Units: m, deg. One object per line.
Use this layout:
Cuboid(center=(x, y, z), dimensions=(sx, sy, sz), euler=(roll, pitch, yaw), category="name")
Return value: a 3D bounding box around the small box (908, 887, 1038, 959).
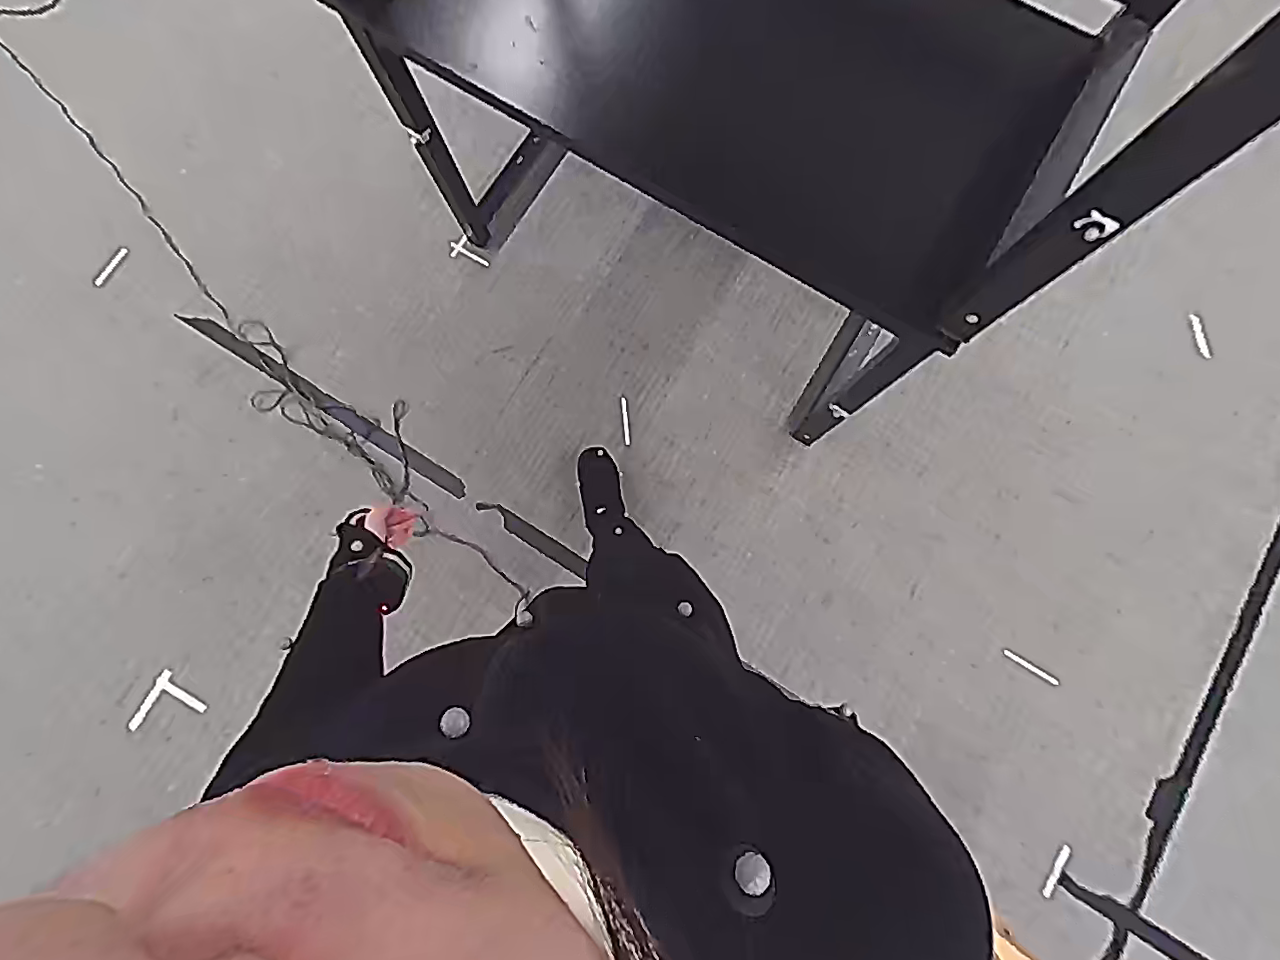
Cuboid(center=(0.697, 0.992, 1.111), dimensions=(0.179, 0.176, 0.168), euler=(38, 84, 5), category="small box")
